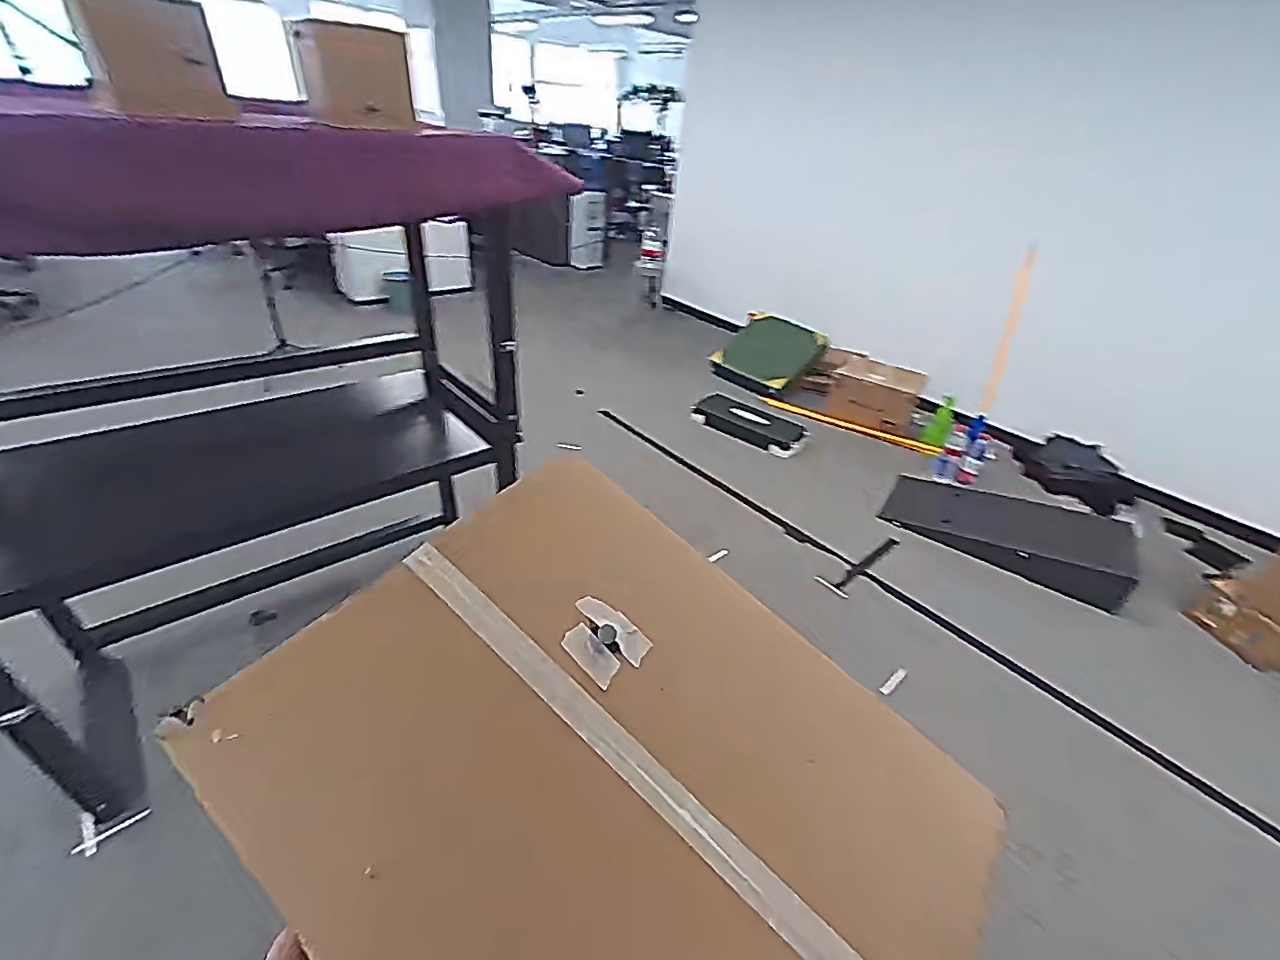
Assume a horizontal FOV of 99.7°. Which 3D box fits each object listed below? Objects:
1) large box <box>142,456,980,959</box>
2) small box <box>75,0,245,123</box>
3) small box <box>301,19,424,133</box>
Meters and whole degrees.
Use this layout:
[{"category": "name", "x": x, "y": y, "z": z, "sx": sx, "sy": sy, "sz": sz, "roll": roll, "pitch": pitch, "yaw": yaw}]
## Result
[{"category": "large box", "x": -0.046, "y": 0.263, "z": 0.429, "sx": 0.408, "sy": 0.320, "sz": 0.320, "roll": 37, "pitch": 50, "yaw": 16}, {"category": "small box", "x": -0.812, "y": -0.719, "z": 0.927, "sx": 0.168, "sy": 0.176, "sz": 0.179, "roll": 31, "pitch": 41, "yaw": 33}, {"category": "small box", "x": -0.555, "y": -0.812, "z": 1.100, "sx": 0.179, "sy": 0.176, "sz": 0.168, "roll": -22, "pitch": 41, "yaw": -35}]
